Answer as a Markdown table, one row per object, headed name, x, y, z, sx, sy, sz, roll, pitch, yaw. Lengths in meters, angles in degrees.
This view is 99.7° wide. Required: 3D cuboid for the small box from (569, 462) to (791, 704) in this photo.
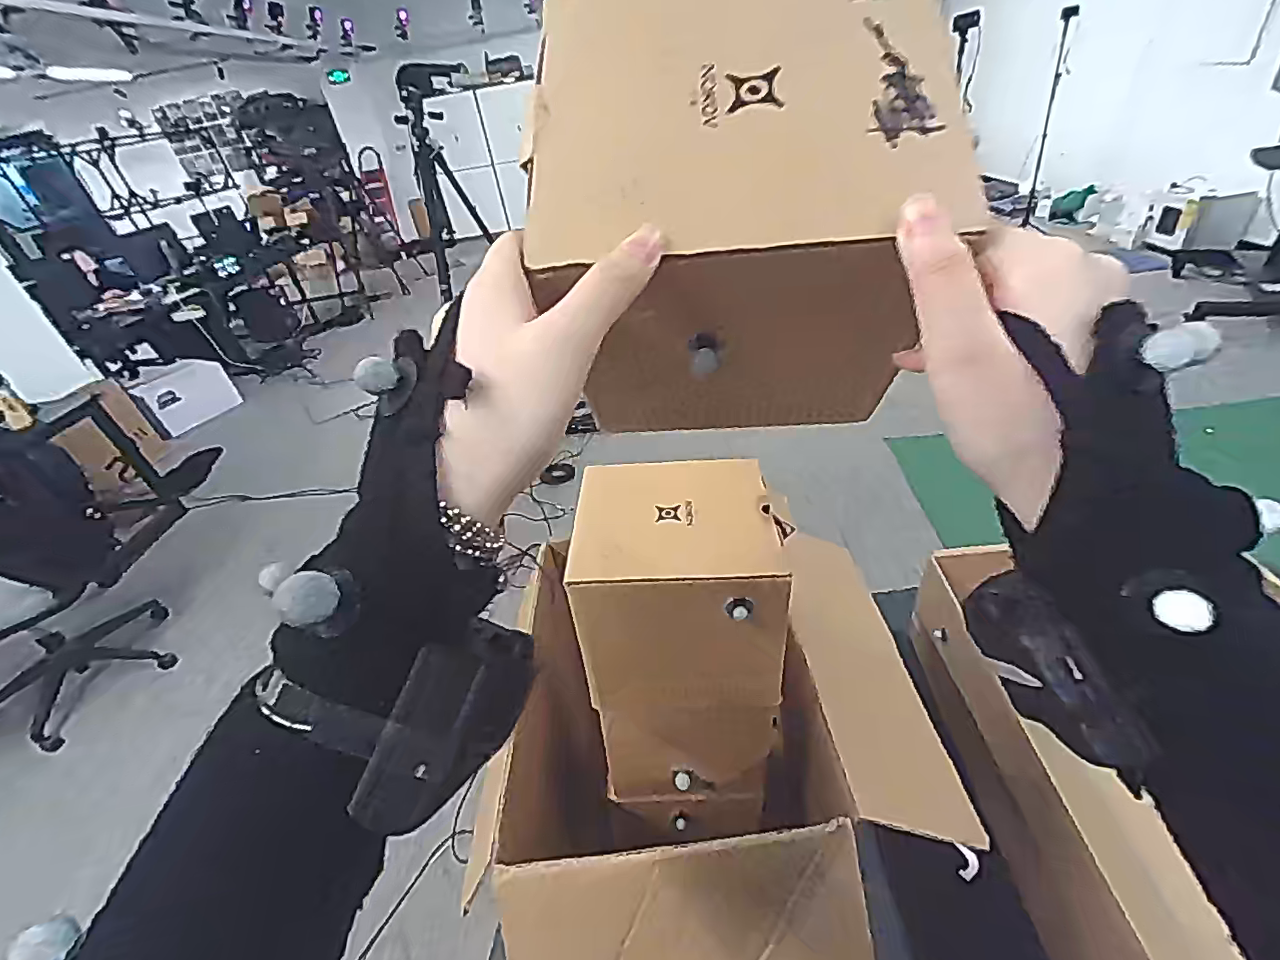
| name | x | y | z | sx | sy | sz | roll | pitch | yaw |
| --- | --- | --- | --- | --- | --- | --- | --- | --- | --- |
| small box | 0.038 | 0.098 | 0.524 | 0.179 | 0.176 | 0.168 | -2 | 35 | 3 |
